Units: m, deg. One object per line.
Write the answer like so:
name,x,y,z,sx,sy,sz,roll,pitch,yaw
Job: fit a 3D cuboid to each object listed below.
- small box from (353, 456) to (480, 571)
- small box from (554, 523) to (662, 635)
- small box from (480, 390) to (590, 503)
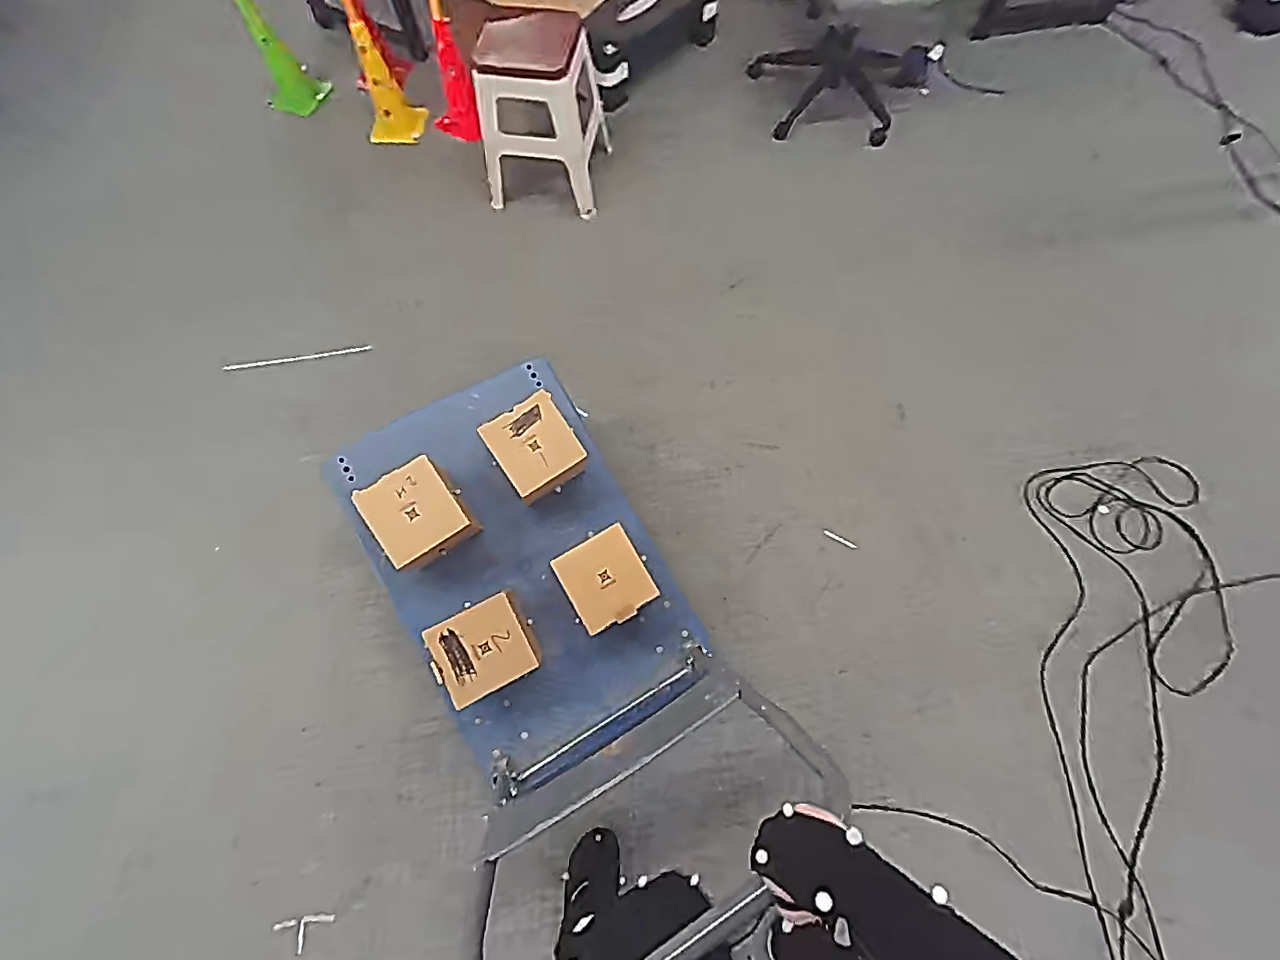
small box,-0.461,0.075,1.148,0.168,0.176,0.179,-34,87,-12
small box,-0.077,0.213,1.178,0.168,0.176,0.179,-30,87,-11
small box,-0.229,-0.065,1.200,0.168,0.176,0.179,-34,88,-10
